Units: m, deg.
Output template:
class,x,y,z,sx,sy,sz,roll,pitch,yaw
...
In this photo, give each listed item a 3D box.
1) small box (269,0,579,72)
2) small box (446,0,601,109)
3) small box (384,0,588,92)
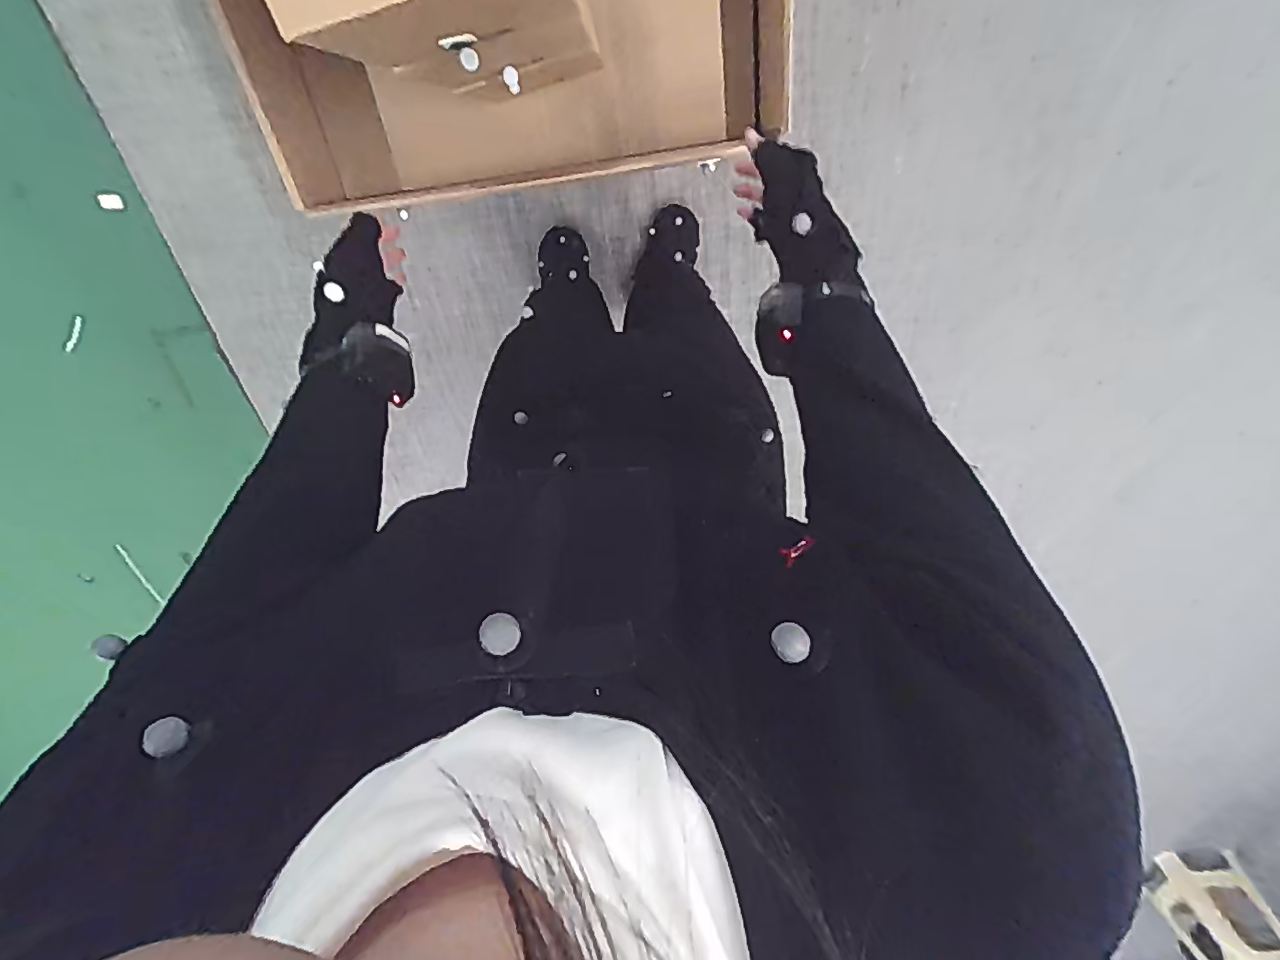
class,x,y,z,sx,sy,sz,roll,pitch,yaw
small box,-0.145,-0.385,0.333,0.168,0.176,0.179,-10,121,9
small box,-0.149,-0.551,0.614,0.168,0.176,0.179,-11,119,9
small box,-0.150,-0.468,0.472,0.168,0.176,0.179,-11,121,8
